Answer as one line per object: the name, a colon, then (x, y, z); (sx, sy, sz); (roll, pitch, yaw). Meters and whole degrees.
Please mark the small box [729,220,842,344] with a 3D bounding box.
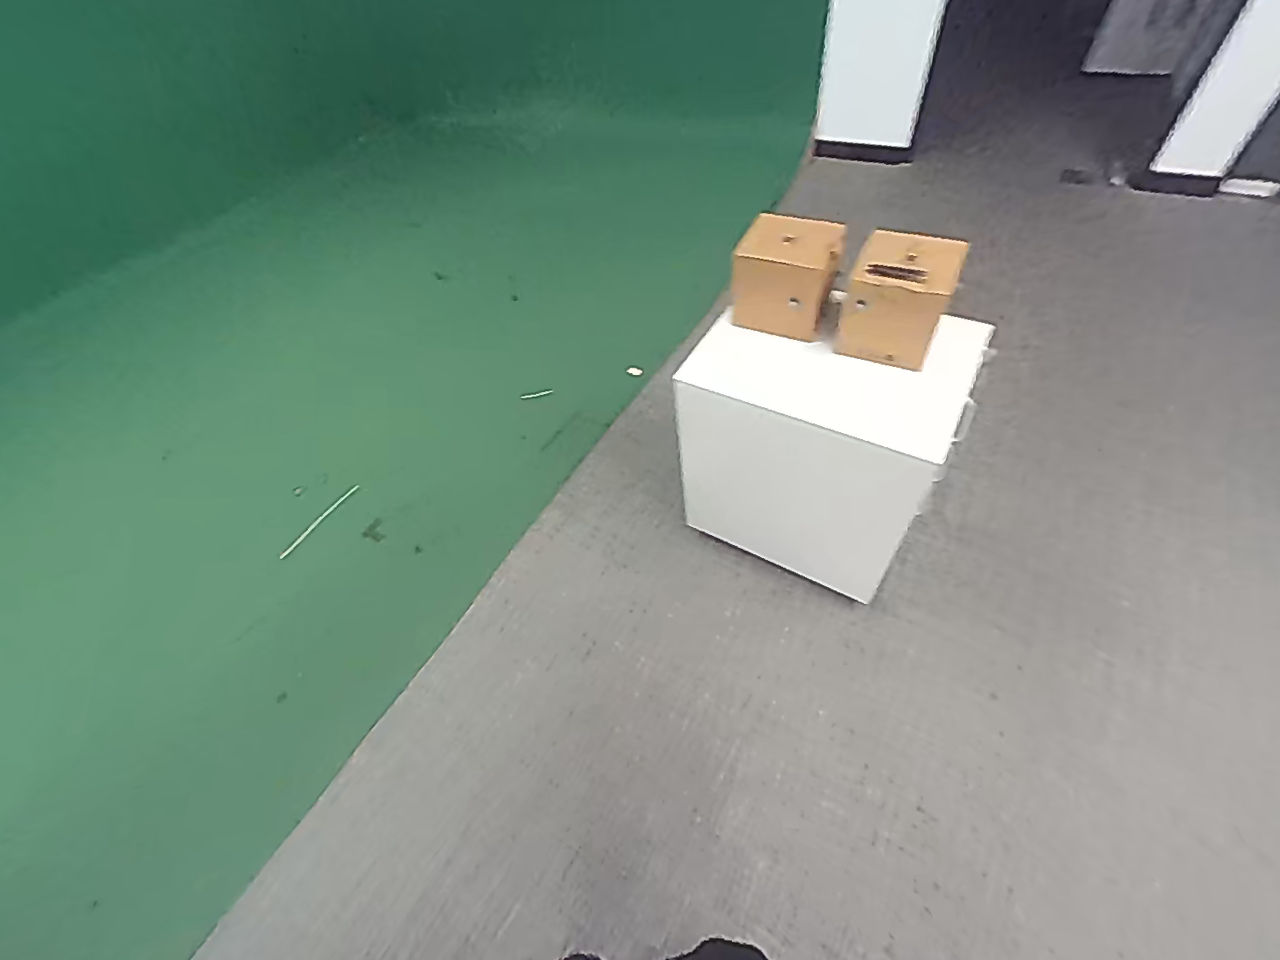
small box: (0.293, -0.404, 1.111); (0.179, 0.176, 0.168); (18, 56, 21)
